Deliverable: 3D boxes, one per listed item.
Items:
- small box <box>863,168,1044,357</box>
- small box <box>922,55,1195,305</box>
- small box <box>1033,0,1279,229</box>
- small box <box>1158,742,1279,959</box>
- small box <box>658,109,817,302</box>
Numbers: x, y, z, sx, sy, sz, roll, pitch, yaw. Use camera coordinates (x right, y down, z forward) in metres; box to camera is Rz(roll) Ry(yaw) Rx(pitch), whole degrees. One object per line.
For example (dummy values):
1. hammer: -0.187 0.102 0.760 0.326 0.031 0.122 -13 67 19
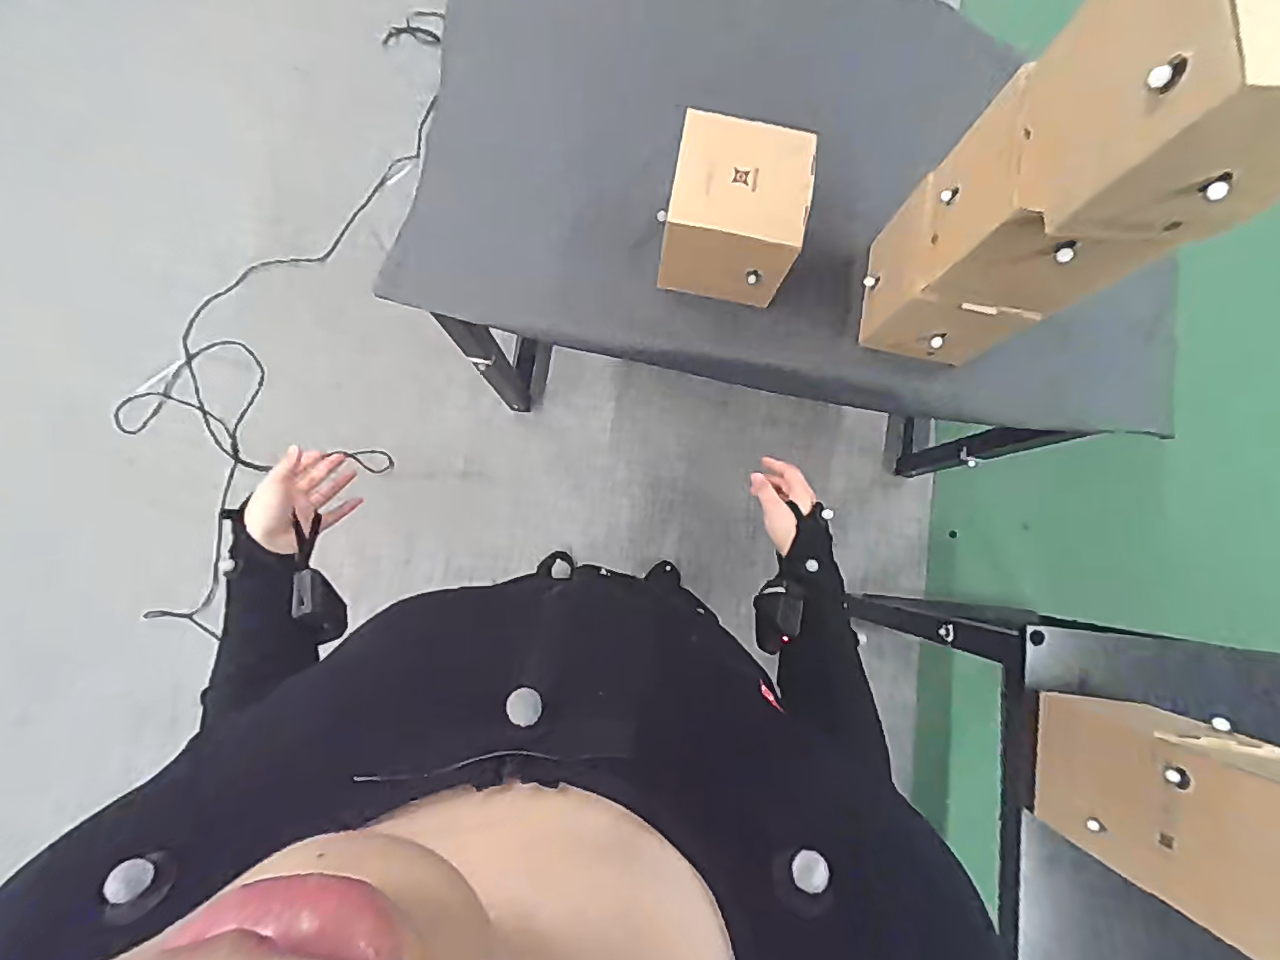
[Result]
1. small box: 0.432 -0.290 0.757 0.168 0.176 0.179 10 82 0
2. small box: 0.445 -0.311 0.595 0.179 0.176 0.168 8 82 0
3. small box: 0.456 -0.325 0.431 0.168 0.176 0.179 0 82 -1
4. small box: 0.660 0.374 0.519 0.179 0.176 0.168 10 84 -1
5. small box: 0.127 -0.370 0.760 0.179 0.176 0.168 10 81 1
